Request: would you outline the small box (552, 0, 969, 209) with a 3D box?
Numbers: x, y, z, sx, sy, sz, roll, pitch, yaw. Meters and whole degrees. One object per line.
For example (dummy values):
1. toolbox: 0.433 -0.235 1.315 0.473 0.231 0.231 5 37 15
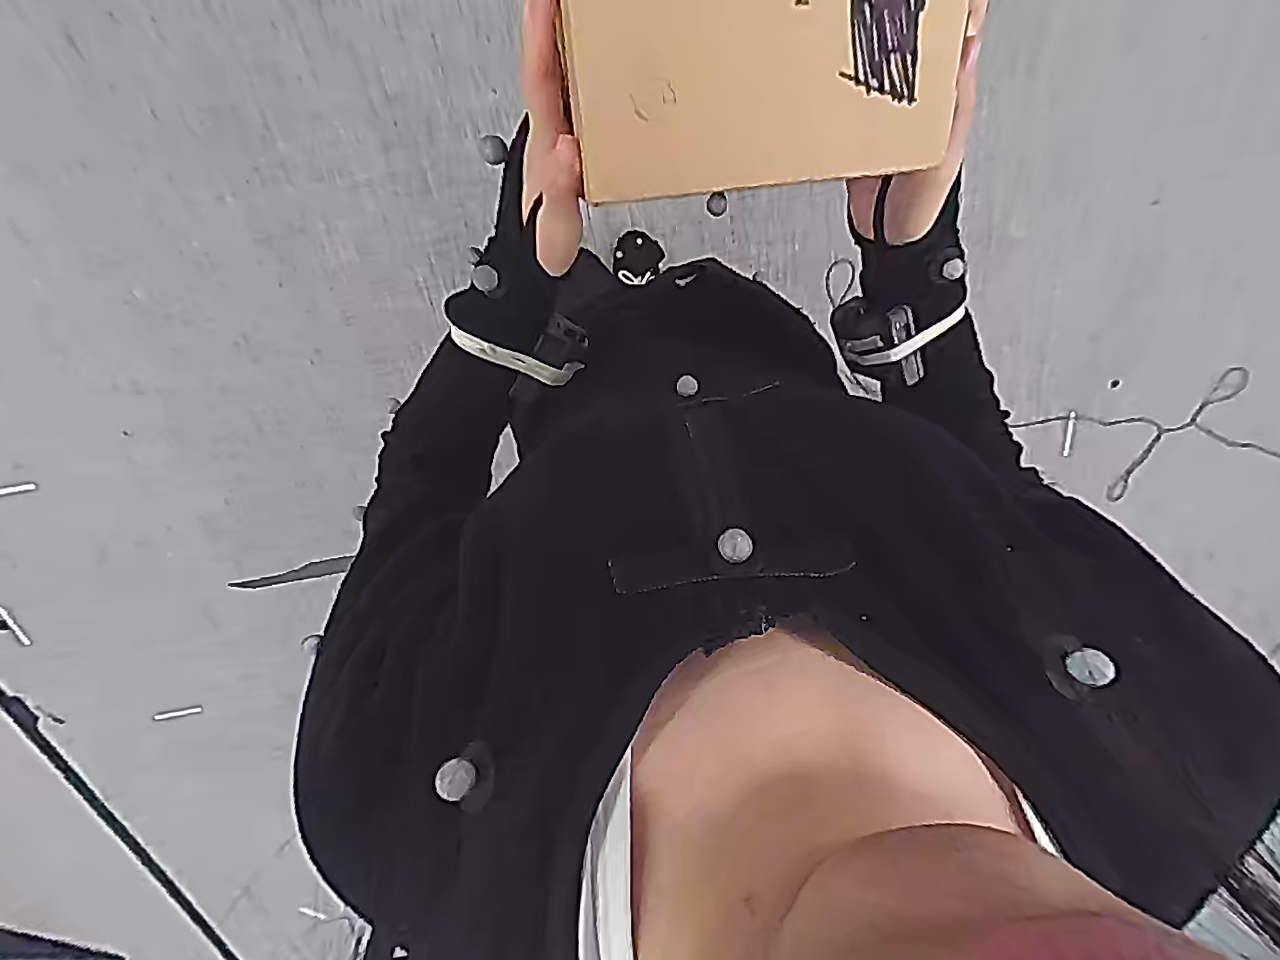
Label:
1. small box: 0.045 -0.248 0.287 0.179 0.176 0.168 -9 120 -4
